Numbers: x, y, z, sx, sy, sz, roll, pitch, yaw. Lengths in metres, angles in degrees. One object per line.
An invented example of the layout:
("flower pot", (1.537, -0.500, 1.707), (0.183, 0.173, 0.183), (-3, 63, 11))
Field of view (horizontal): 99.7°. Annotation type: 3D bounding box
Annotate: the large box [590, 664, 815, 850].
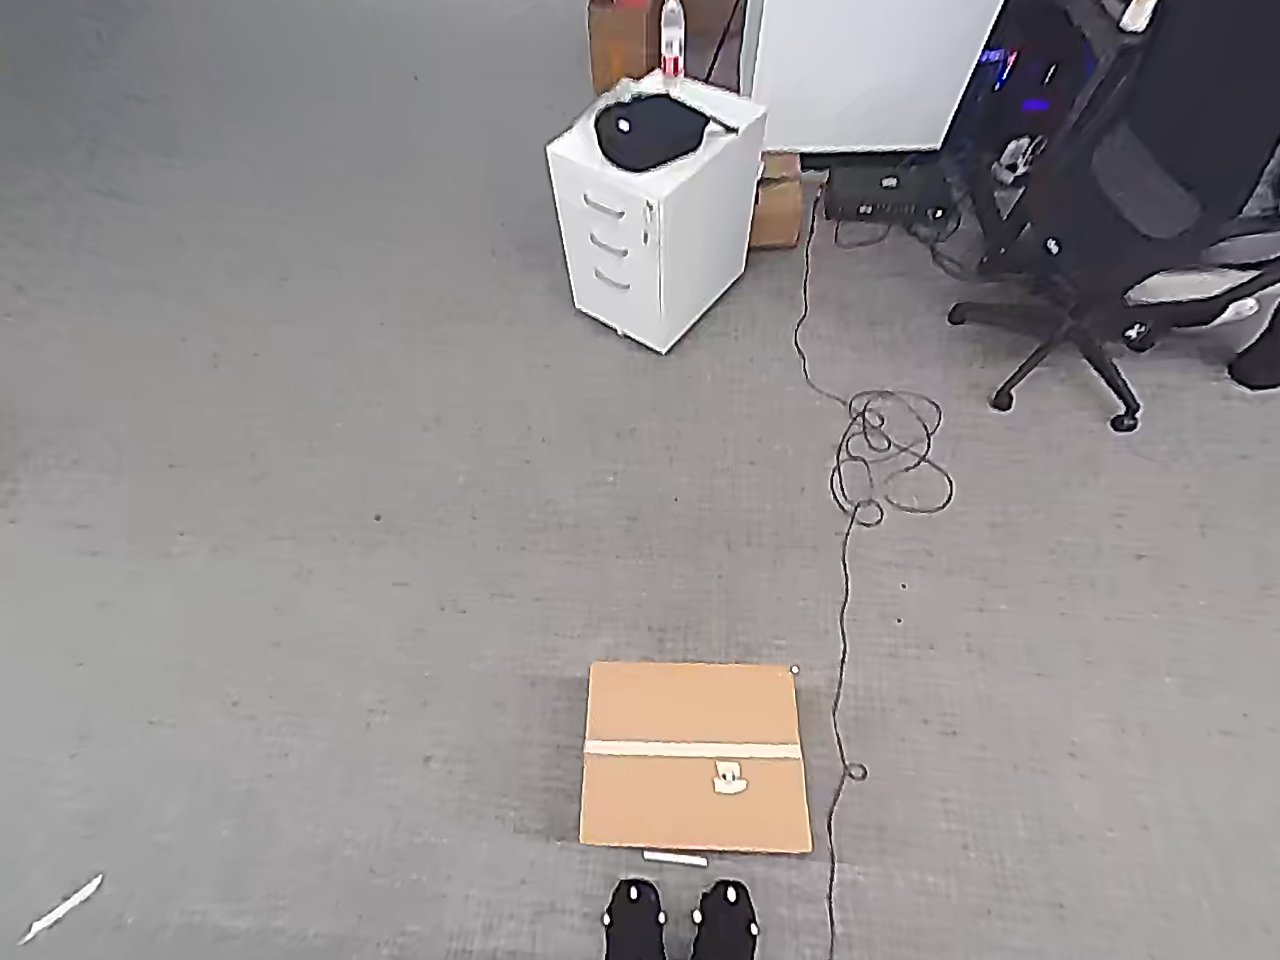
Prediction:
("large box", (0.112, 0.585, 1.147), (0.408, 0.320, 0.320), (0, 60, 2))
